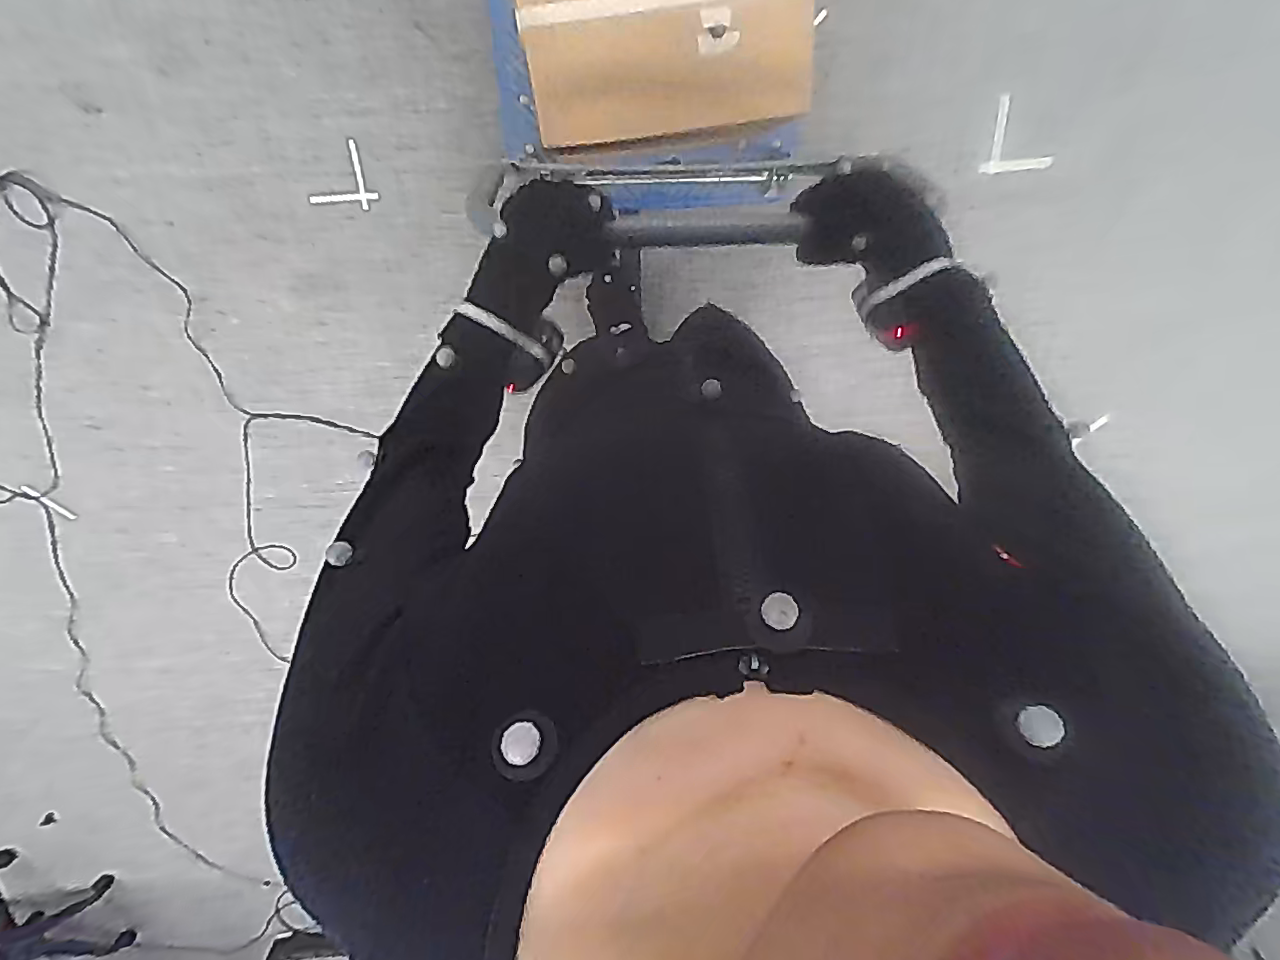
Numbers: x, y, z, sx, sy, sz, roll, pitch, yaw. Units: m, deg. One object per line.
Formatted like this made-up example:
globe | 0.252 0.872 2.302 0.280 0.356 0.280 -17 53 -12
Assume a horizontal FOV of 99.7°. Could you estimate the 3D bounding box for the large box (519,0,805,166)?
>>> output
large box | 0.020 -0.734 0.884 0.408 0.320 0.320 -9 116 -1
